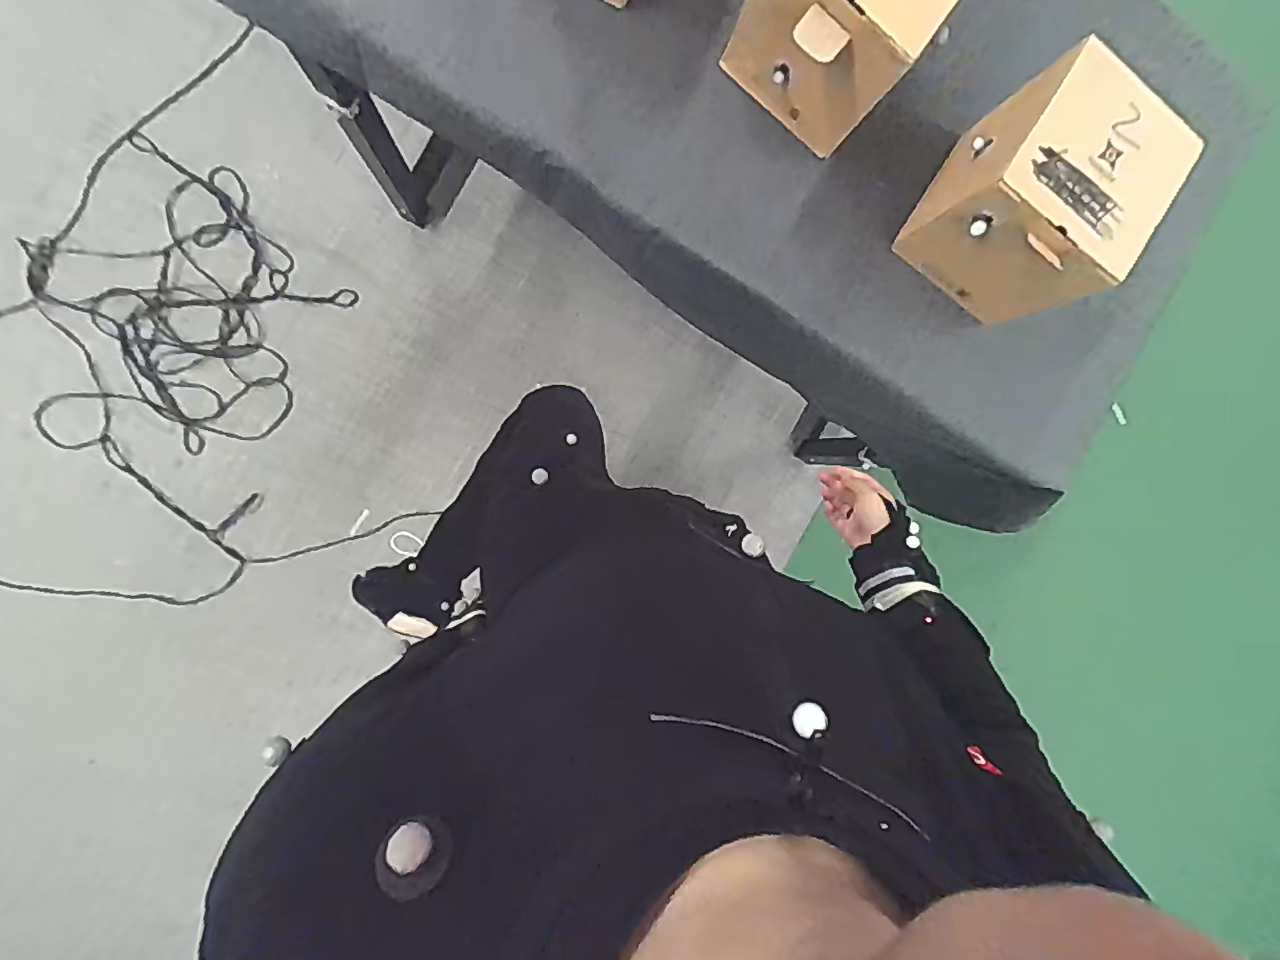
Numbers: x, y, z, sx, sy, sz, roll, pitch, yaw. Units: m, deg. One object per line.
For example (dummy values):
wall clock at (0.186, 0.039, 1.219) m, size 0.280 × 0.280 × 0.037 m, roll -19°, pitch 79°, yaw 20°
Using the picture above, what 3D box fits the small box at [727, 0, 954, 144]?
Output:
small box at (0.213, -0.496, 0.542) m, size 0.168 × 0.176 × 0.179 m, roll 36°, pitch 88°, yaw -10°
